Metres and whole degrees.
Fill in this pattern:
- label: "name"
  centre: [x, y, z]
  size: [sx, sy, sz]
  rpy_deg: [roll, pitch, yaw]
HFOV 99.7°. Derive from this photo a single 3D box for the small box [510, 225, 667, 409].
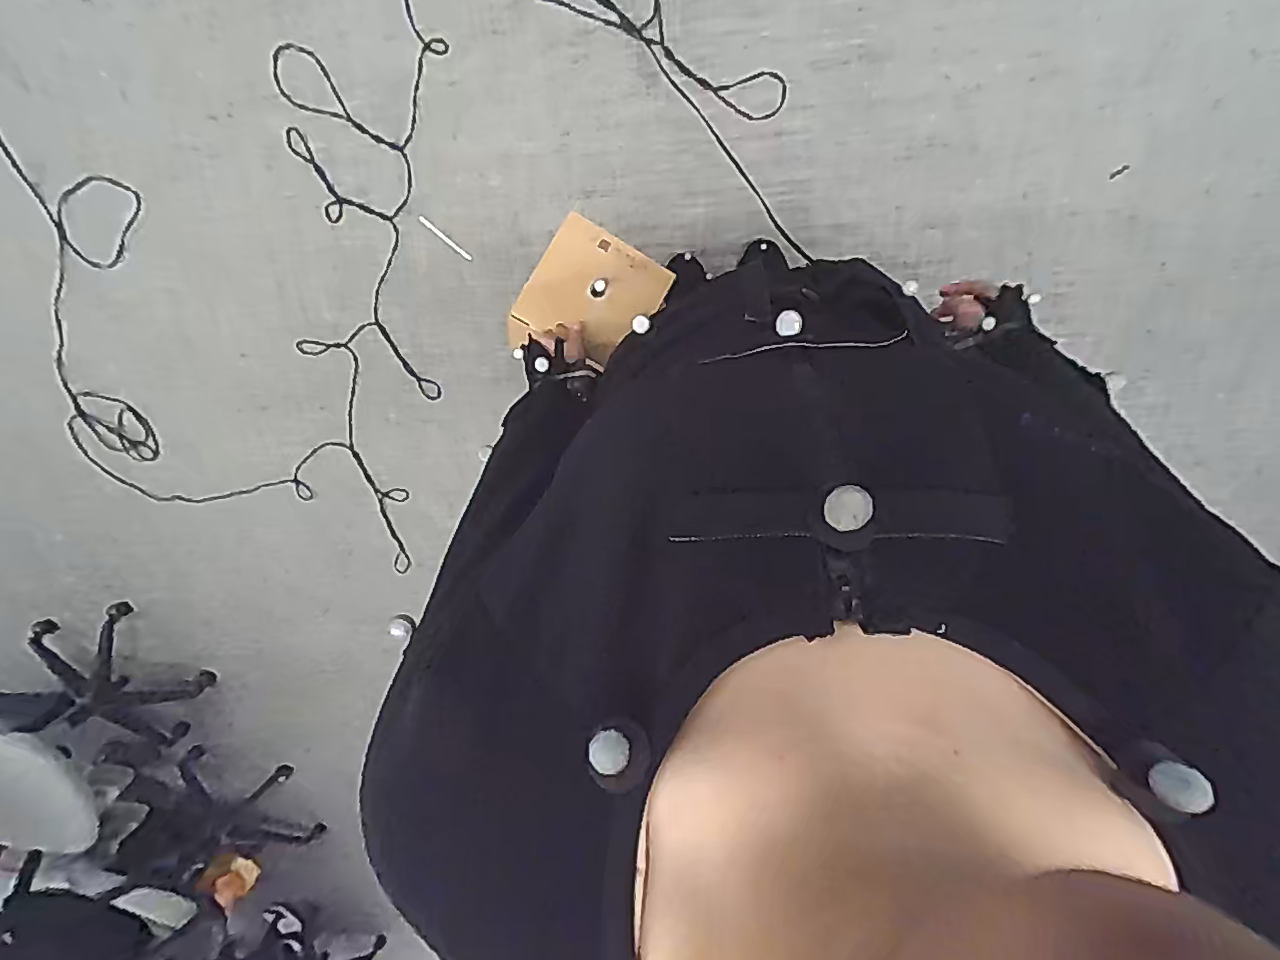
- label: "small box"
  centre: [-0.078, -0.232, 0.795]
  size: [0.168, 0.179, 0.176]
  rpy_deg: [27, 79, -9]
